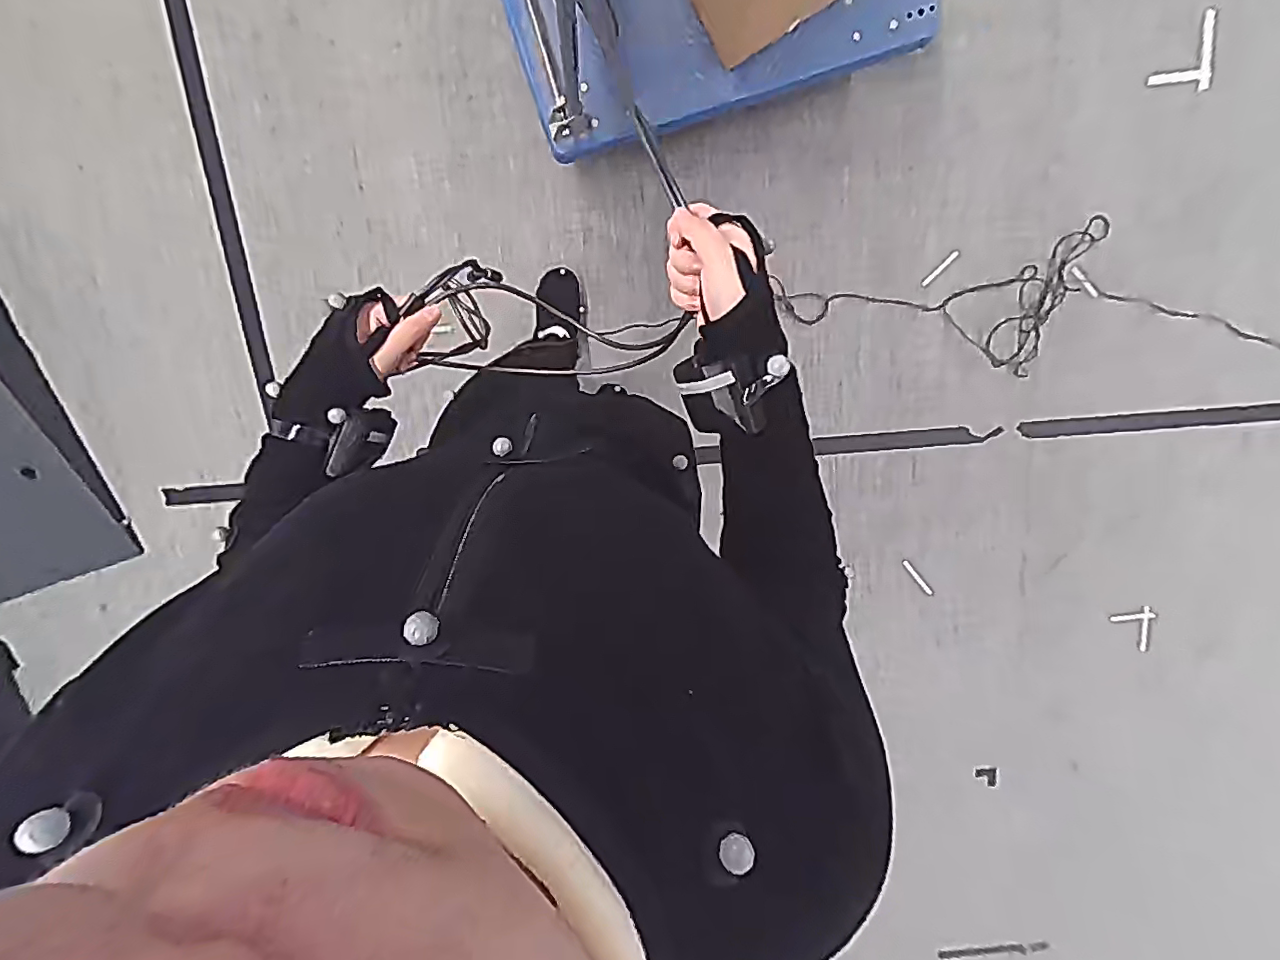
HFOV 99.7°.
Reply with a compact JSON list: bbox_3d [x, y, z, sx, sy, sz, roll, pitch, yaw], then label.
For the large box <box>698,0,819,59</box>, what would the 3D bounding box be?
[{"bbox_3d":[0.215,-1.077,0.927,0.320,0.320,0.408,-31,103,5],"label":"large box"}]
